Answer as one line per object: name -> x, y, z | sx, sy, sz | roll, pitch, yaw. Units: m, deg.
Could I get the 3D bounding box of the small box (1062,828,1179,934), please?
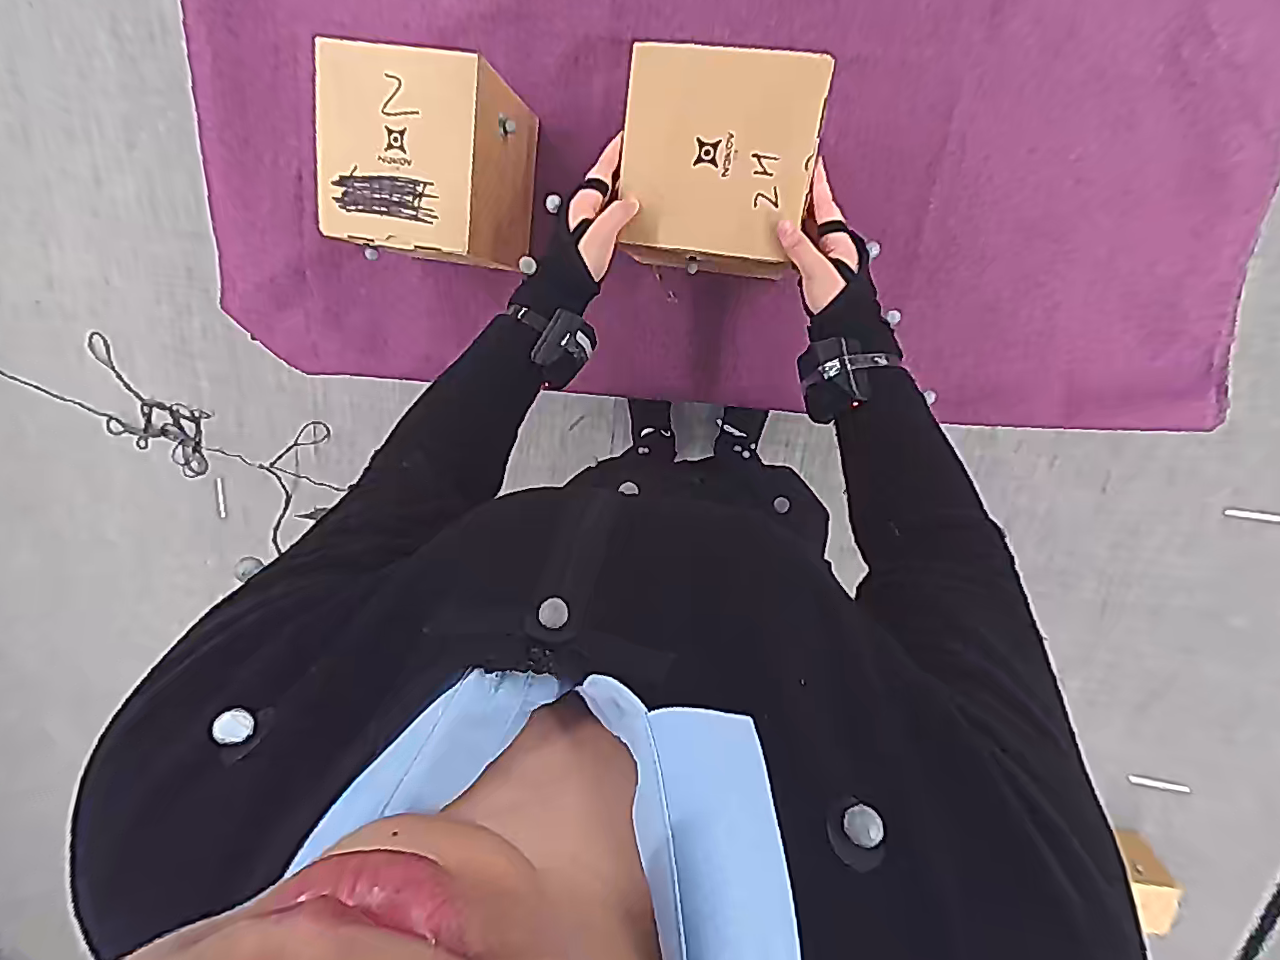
small box -> 1.345, 1.125, 1.529 | 0.179, 0.176, 0.168 | 1, 105, 8

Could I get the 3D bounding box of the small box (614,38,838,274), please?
small box -> 0.083, -0.314, 0.559 | 0.179, 0.176, 0.168 | 10, 108, 6
